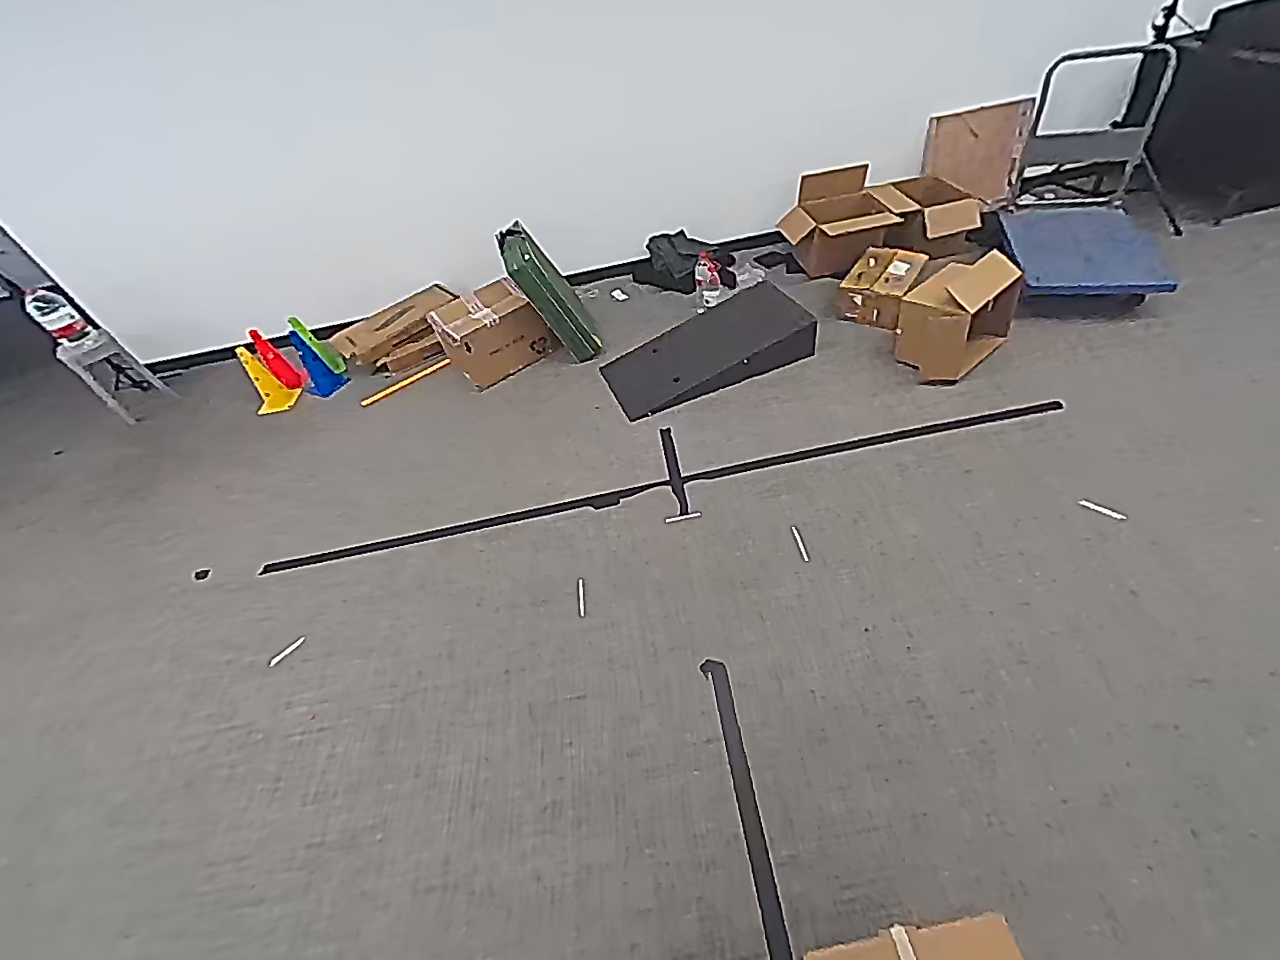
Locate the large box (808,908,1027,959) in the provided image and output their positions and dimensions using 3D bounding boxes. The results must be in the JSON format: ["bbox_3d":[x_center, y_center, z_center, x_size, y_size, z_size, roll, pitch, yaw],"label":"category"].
[{"bbox_3d":[0.476,0.935,0.813,0.320,0.320,0.408,-17,47,6],"label":"large box"}]
